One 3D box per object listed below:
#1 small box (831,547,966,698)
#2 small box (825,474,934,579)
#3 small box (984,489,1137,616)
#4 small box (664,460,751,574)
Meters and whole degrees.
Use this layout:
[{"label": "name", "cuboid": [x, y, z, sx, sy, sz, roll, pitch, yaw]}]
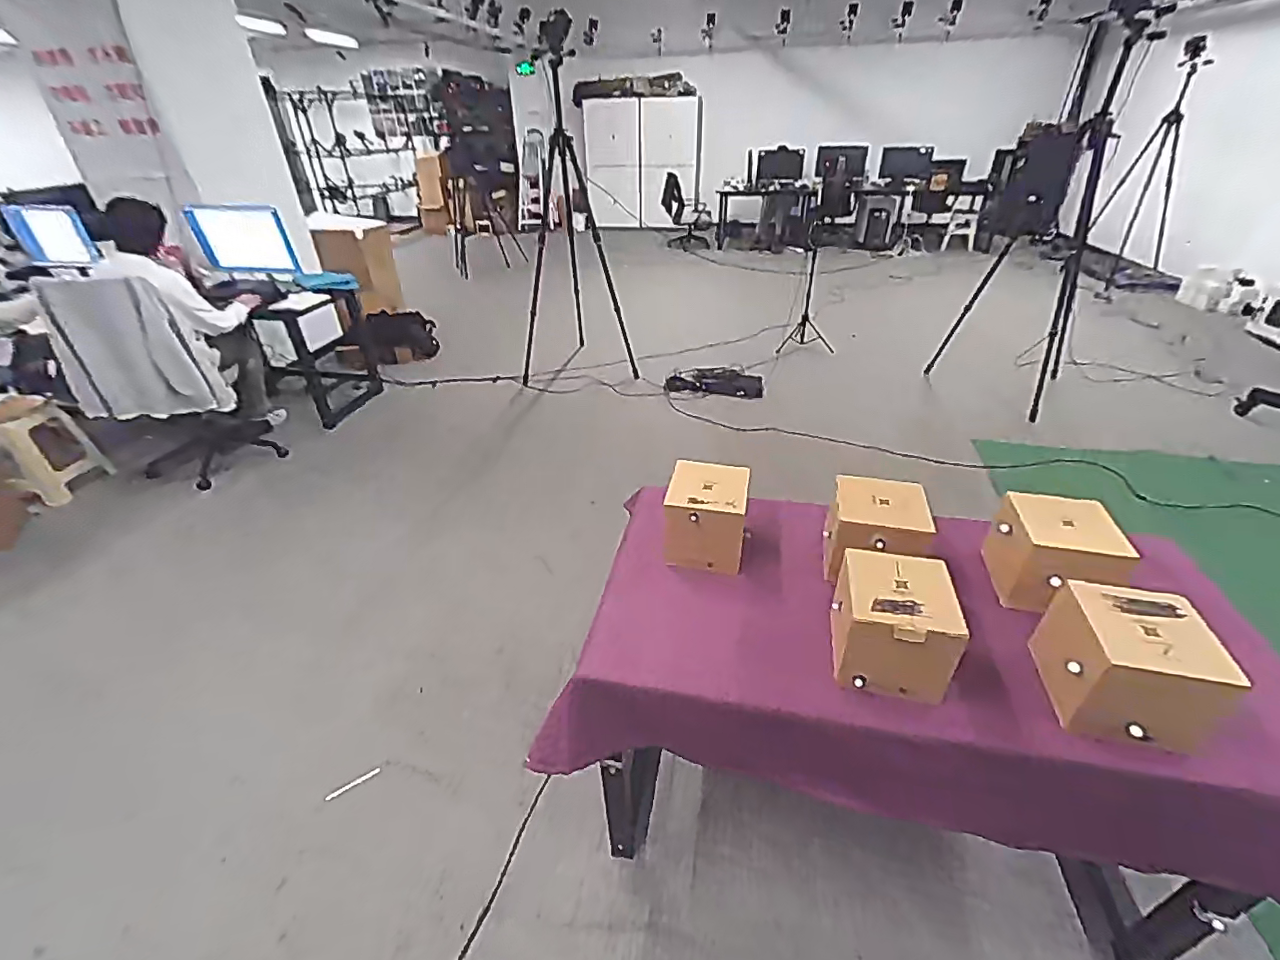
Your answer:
[{"label": "small box", "cuboid": [0.428, 0.242, 0.926, 0.168, 0.176, 0.179, 6, 33, 12]}, {"label": "small box", "cuboid": [0.487, 0.108, 1.128, 0.179, 0.176, 0.168, 8, 35, 14]}, {"label": "small box", "cuboid": [0.806, 0.141, 1.059, 0.168, 0.176, 0.179, 7, 34, 14]}, {"label": "small box", "cuboid": [0.148, 0.078, 1.190, 0.168, 0.176, 0.179, 6, 34, 12]}]
